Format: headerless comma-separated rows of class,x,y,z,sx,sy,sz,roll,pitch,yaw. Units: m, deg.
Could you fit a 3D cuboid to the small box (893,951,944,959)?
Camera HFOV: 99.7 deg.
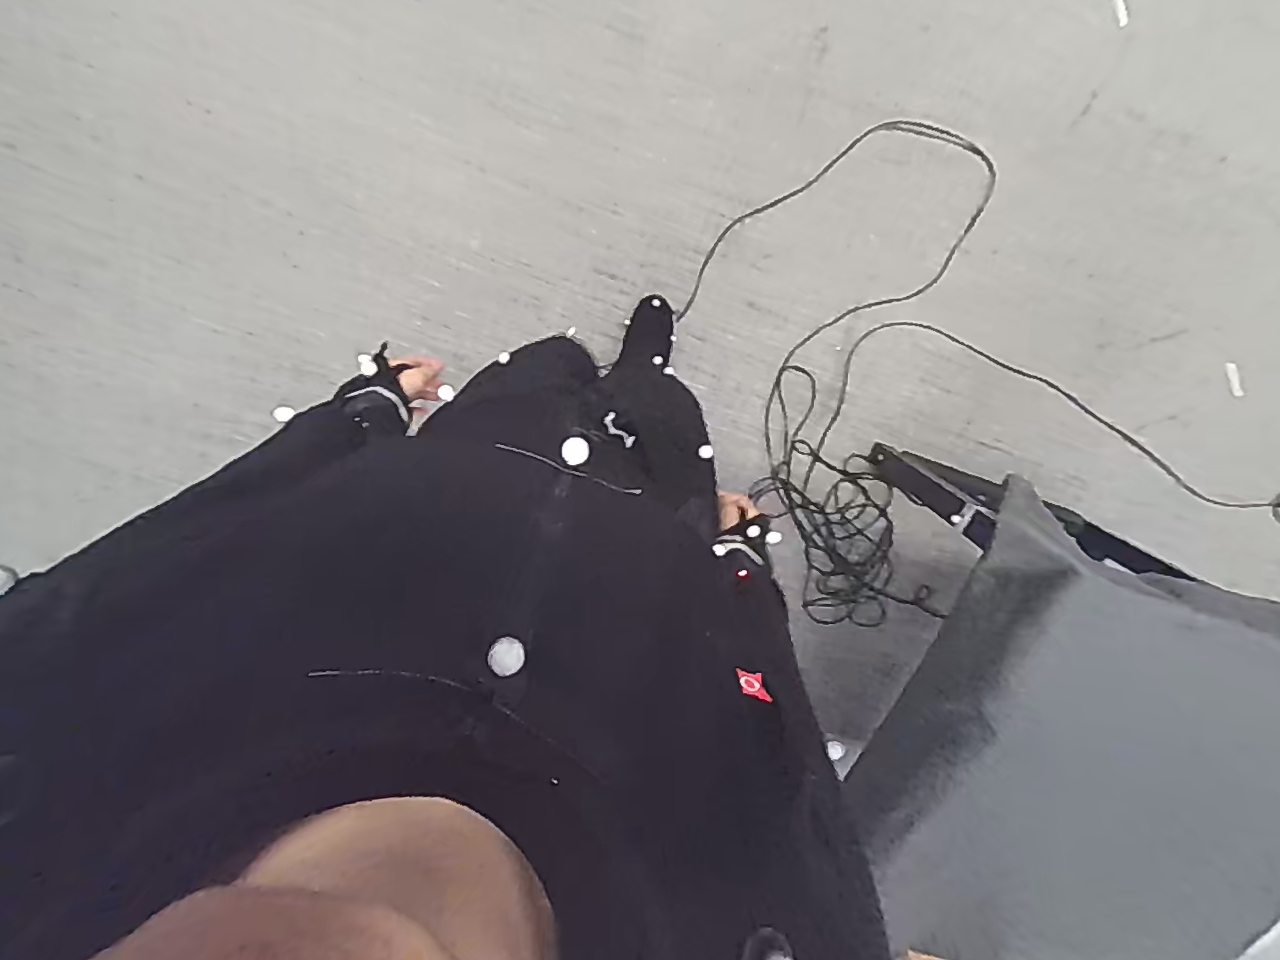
small box,0.470,0.871,0.820,0.179,0.176,0.168,20,107,-5
